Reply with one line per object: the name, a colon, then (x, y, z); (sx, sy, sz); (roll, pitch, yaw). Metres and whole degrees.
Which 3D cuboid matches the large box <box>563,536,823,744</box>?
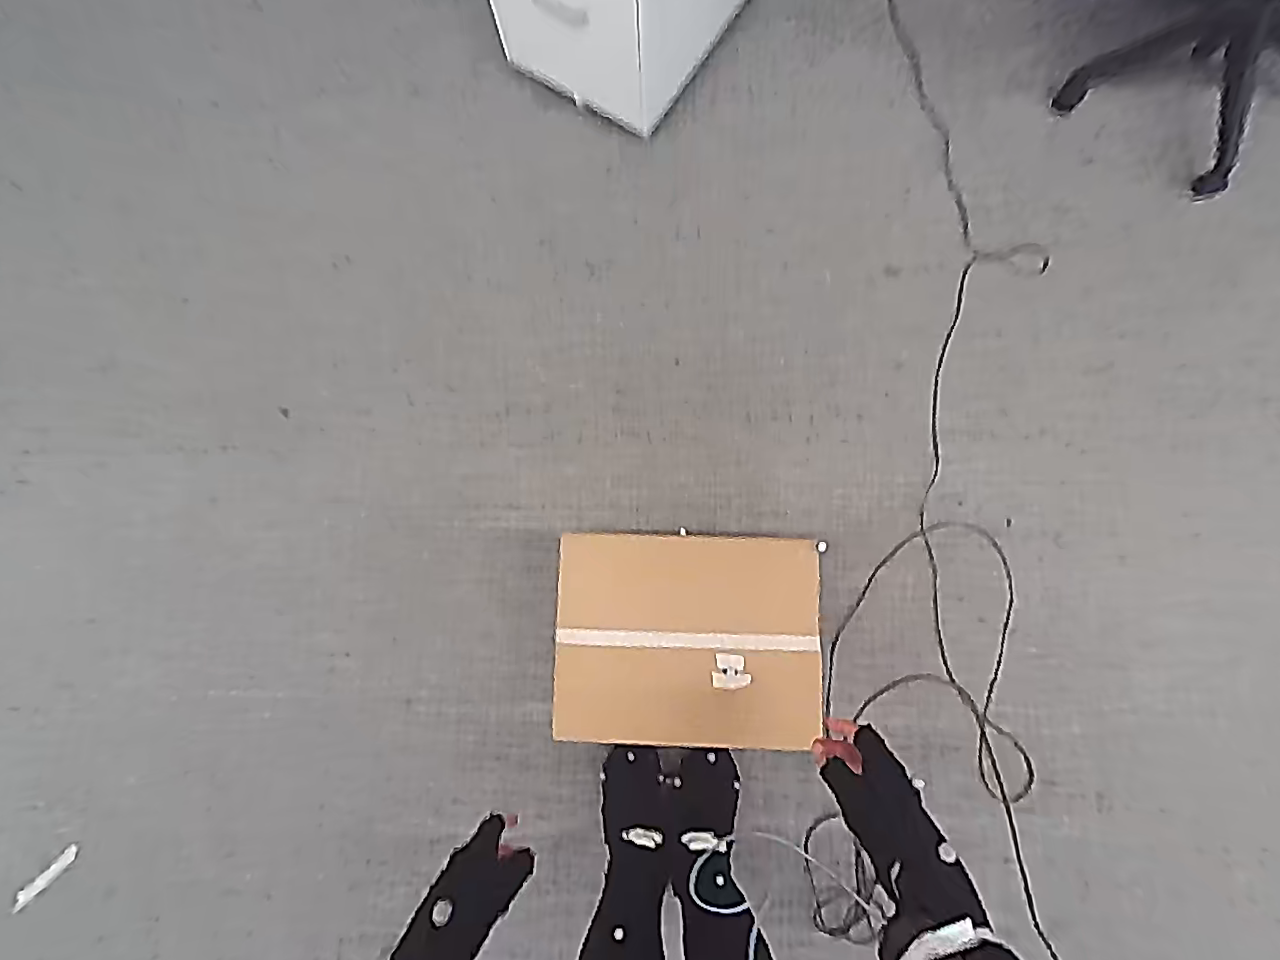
large box: (0.083, 0.270, 0.990); (0.408, 0.320, 0.320); (1, 82, 2)
